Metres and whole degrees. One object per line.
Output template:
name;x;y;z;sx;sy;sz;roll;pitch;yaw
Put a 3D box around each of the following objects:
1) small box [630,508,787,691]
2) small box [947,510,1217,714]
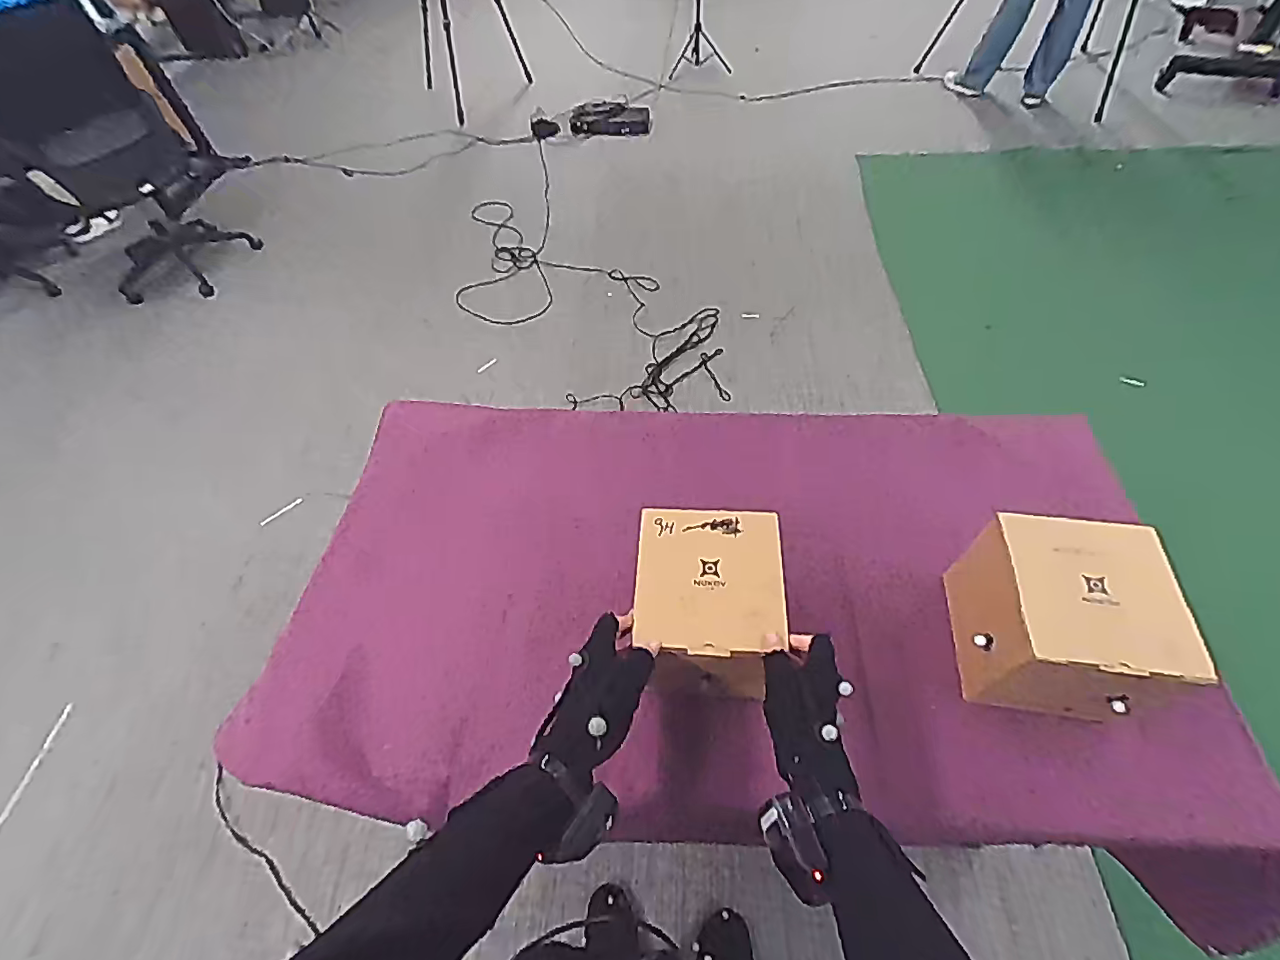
small box;0.083;0.153;0.671;0.168;0.176;0.179;2;55;5
small box;0.487;0.159;0.634;0.168;0.176;0.179;6;55;9
